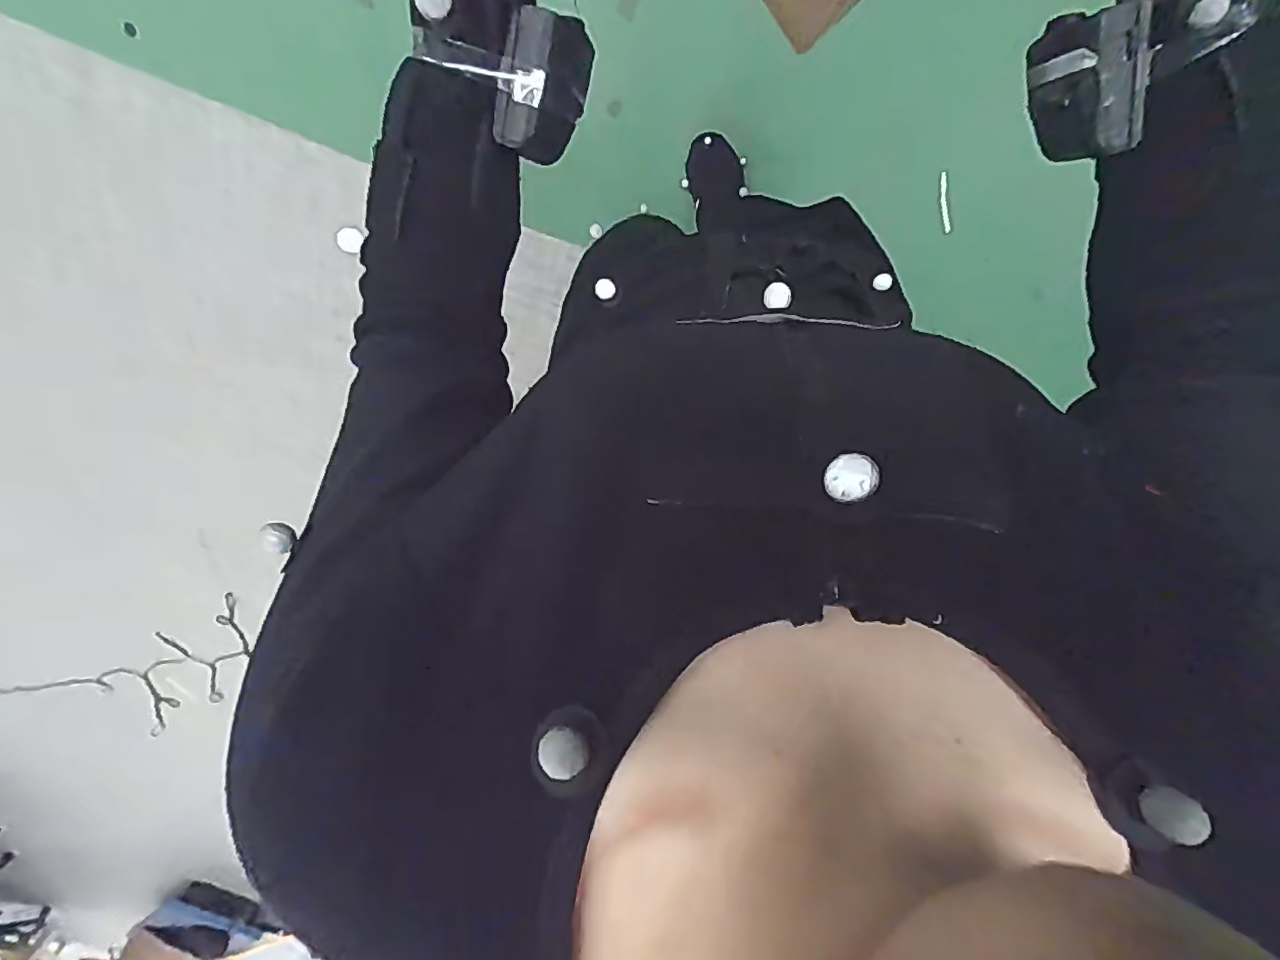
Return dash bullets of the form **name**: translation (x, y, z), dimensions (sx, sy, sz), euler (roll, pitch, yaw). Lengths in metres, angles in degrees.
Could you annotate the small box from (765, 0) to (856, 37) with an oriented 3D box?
- **small box**: translation (0.081, -0.294, 0.167), dimensions (0.179, 0.176, 0.168), euler (-39, 107, 24)
